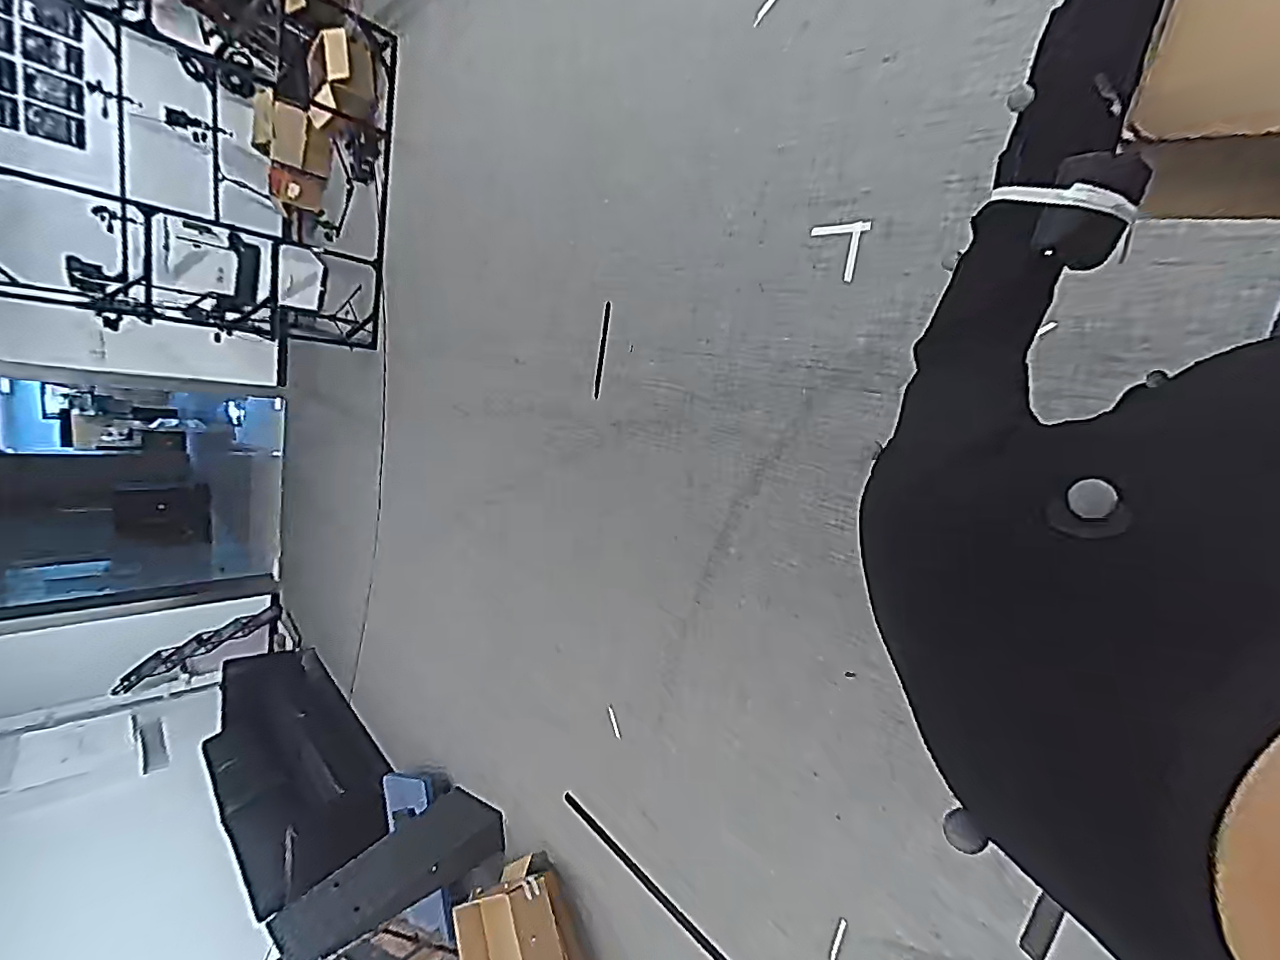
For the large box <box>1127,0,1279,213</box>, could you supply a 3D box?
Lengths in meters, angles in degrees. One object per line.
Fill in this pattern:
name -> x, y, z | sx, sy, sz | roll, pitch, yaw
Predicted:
large box -> 0.597, -0.356, 0.317 | 0.408, 0.320, 0.320 | 22, 116, 38
